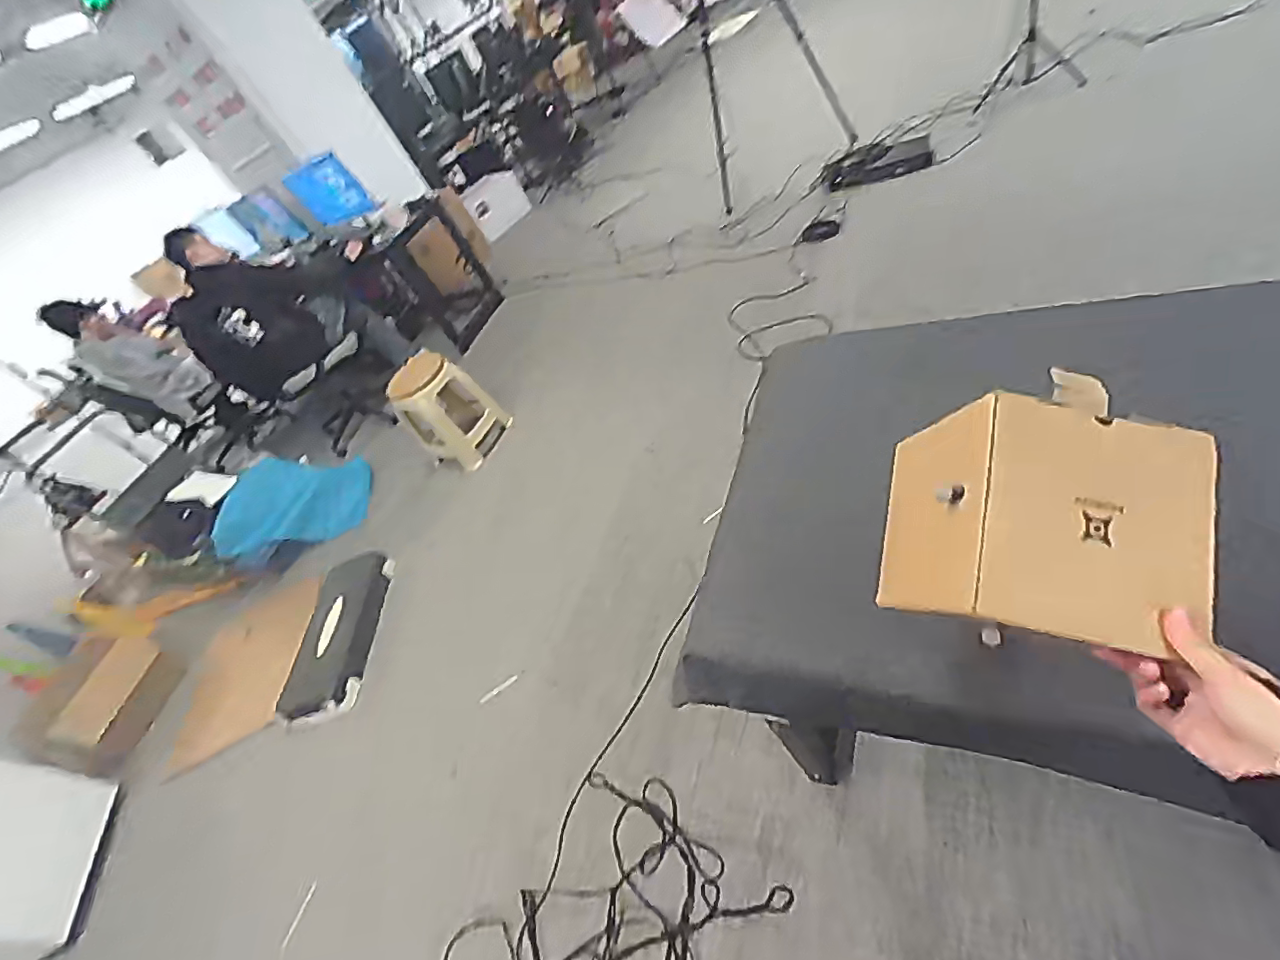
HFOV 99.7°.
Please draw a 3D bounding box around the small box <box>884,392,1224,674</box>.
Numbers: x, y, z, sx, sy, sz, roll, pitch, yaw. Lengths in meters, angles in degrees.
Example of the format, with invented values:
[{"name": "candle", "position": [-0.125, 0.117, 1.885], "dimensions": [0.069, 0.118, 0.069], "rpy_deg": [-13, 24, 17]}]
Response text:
[{"name": "small box", "position": [0.332, 0.049, 0.466], "dimensions": [0.168, 0.176, 0.179], "rpy_deg": [12, 78, 3]}]
